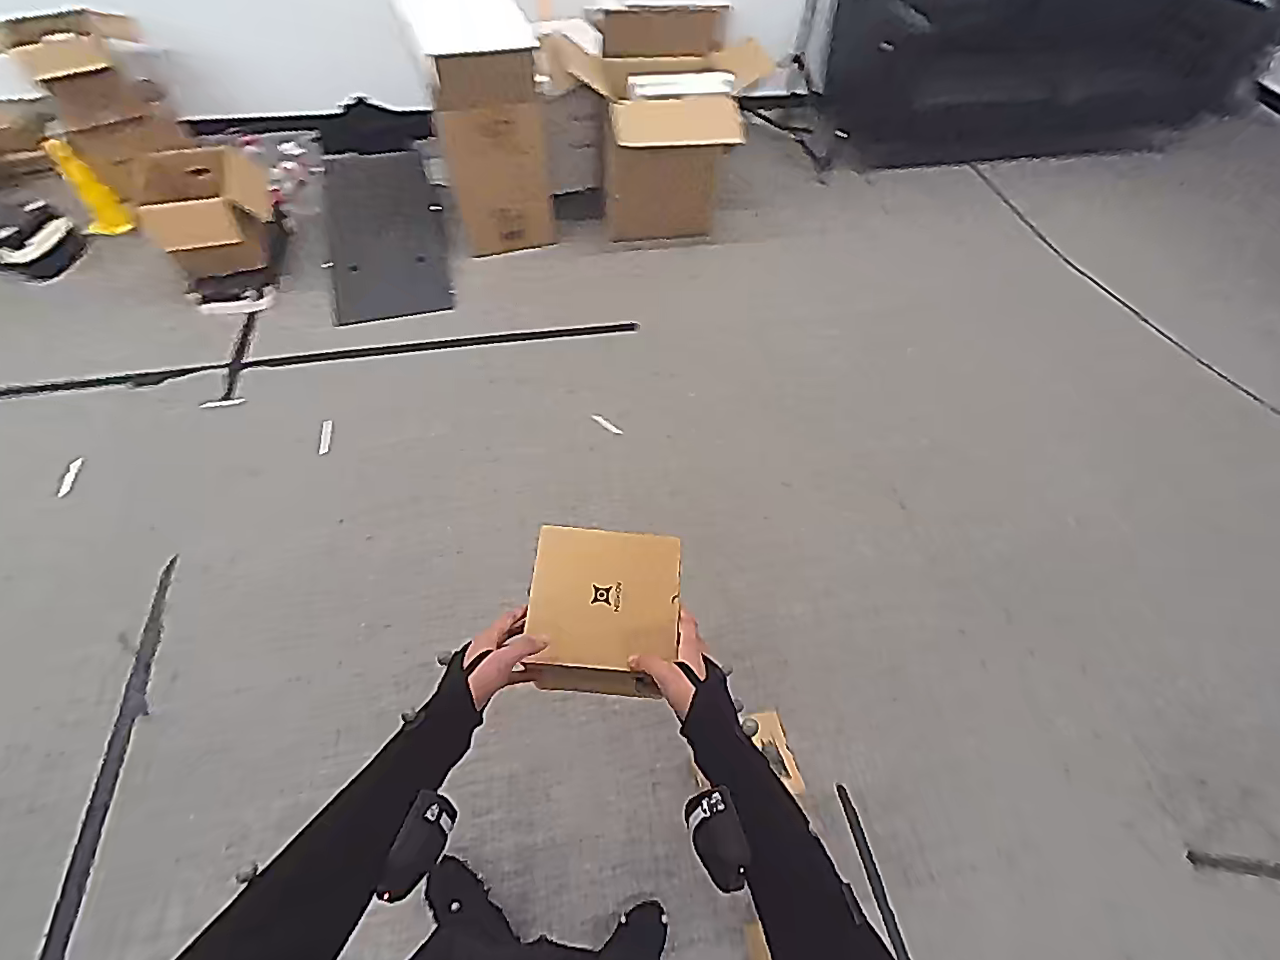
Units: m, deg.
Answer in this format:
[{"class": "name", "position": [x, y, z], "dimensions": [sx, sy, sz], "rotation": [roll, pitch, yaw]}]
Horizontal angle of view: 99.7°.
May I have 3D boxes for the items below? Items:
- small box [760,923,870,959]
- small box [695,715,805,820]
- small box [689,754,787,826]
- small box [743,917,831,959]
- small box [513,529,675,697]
[{"class": "small box", "position": [0.338, 0.962, 1.008], "dimensions": [0.168, 0.176, 0.179], "rotation": [-5, 58, -7]}, {"class": "small box", "position": [0.237, 0.647, 1.214], "dimensions": [0.179, 0.176, 0.168], "rotation": [-11, 57, -10]}, {"class": "small box", "position": [0.237, 0.744, 1.347], "dimensions": [0.179, 0.176, 0.168], "rotation": [-13, 57, -11]}, {"class": "small box", "position": [0.329, 1.053, 1.144], "dimensions": [0.168, 0.176, 0.179], "rotation": [-7, 58, -7]}, {"class": "small box", "position": [-0.054, 0.177, 0.693], "dimensions": [0.179, 0.176, 0.168], "rotation": [5, 60, -3]}]
